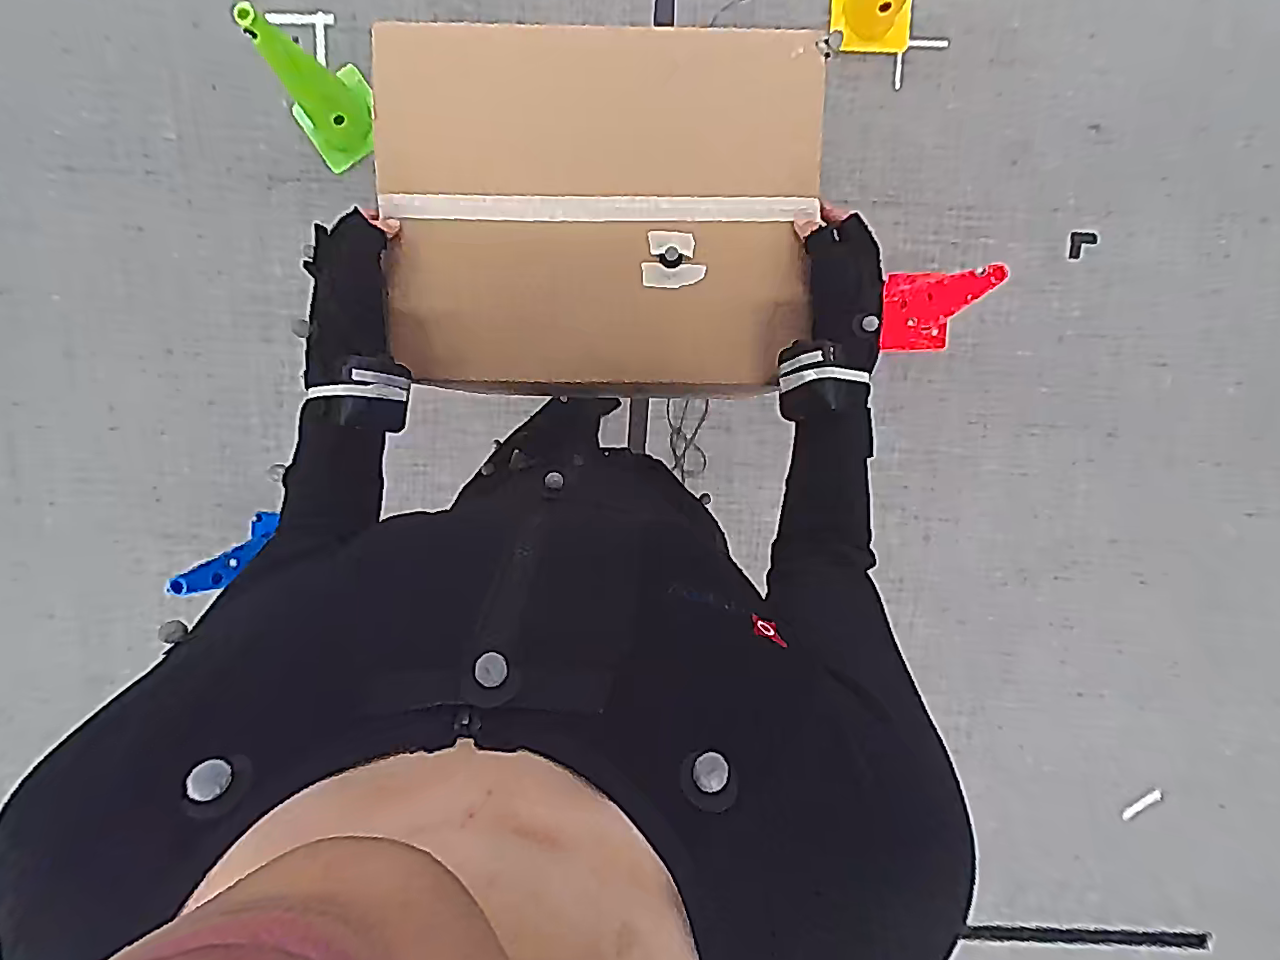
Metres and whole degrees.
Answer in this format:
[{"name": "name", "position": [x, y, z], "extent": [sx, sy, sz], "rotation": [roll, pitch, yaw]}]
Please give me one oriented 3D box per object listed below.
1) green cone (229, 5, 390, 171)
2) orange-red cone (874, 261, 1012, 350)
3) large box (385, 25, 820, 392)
[{"name": "green cone", "position": [-0.751, -0.902, 1.198], "extent": [0.202, 0.368, 0.200], "rotation": [-35, 94, 5]}, {"name": "orange-red cone", "position": [0.712, -0.430, 1.240], "extent": [0.198, 0.360, 0.199], "rotation": [0, 94, -1]}, {"name": "large box", "position": [-0.037, -0.273, 0.653], "extent": [0.408, 0.320, 0.320], "rotation": [1, 96, -1]}]
